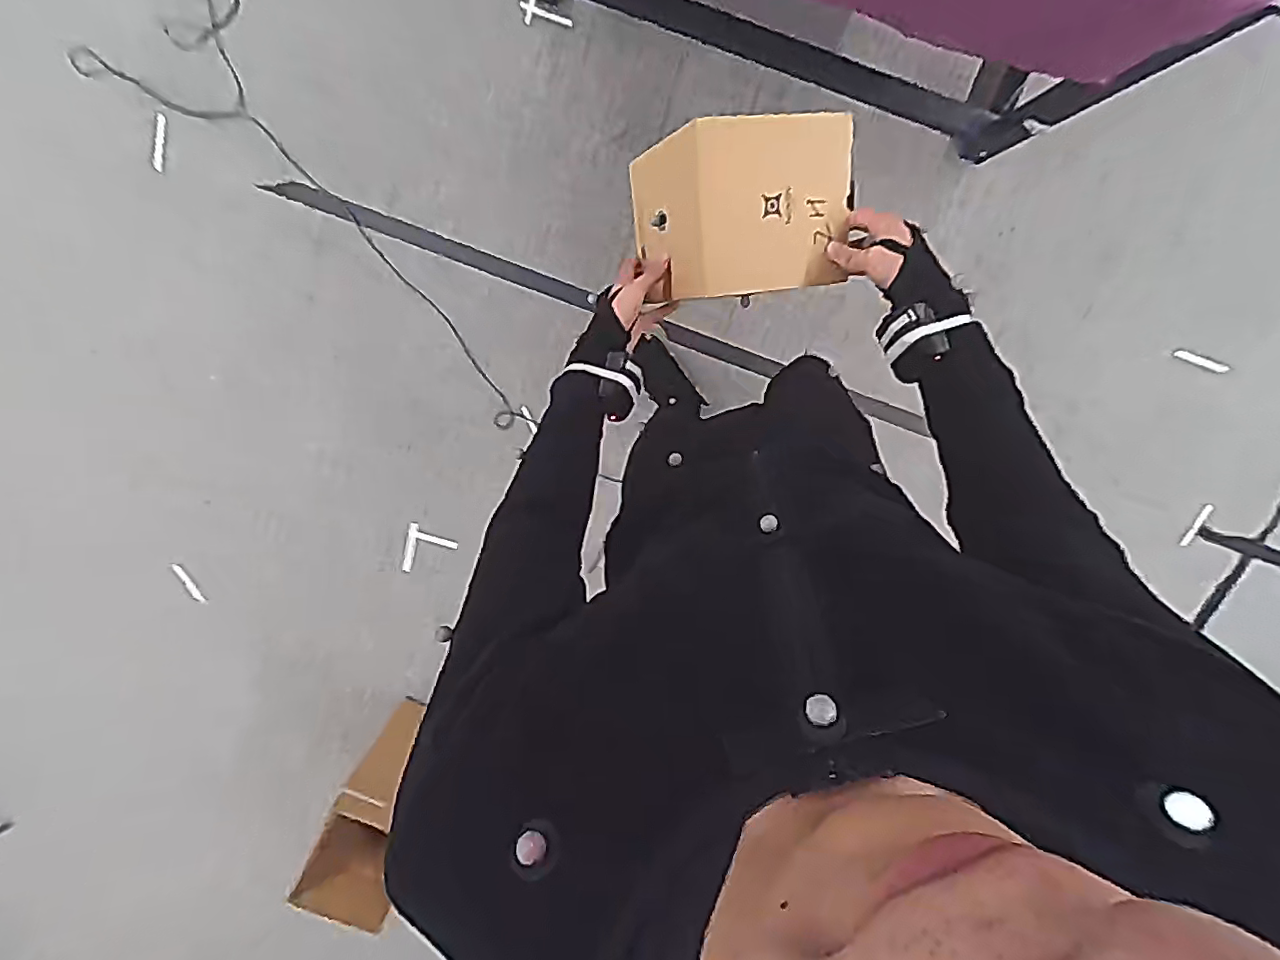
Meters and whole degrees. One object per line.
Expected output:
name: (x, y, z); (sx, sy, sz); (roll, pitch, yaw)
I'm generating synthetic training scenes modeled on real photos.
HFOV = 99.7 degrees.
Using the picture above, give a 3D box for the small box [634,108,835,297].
small box: (0.101, -0.309, 0.632); (0.179, 0.176, 0.168); (-13, 110, -22)
